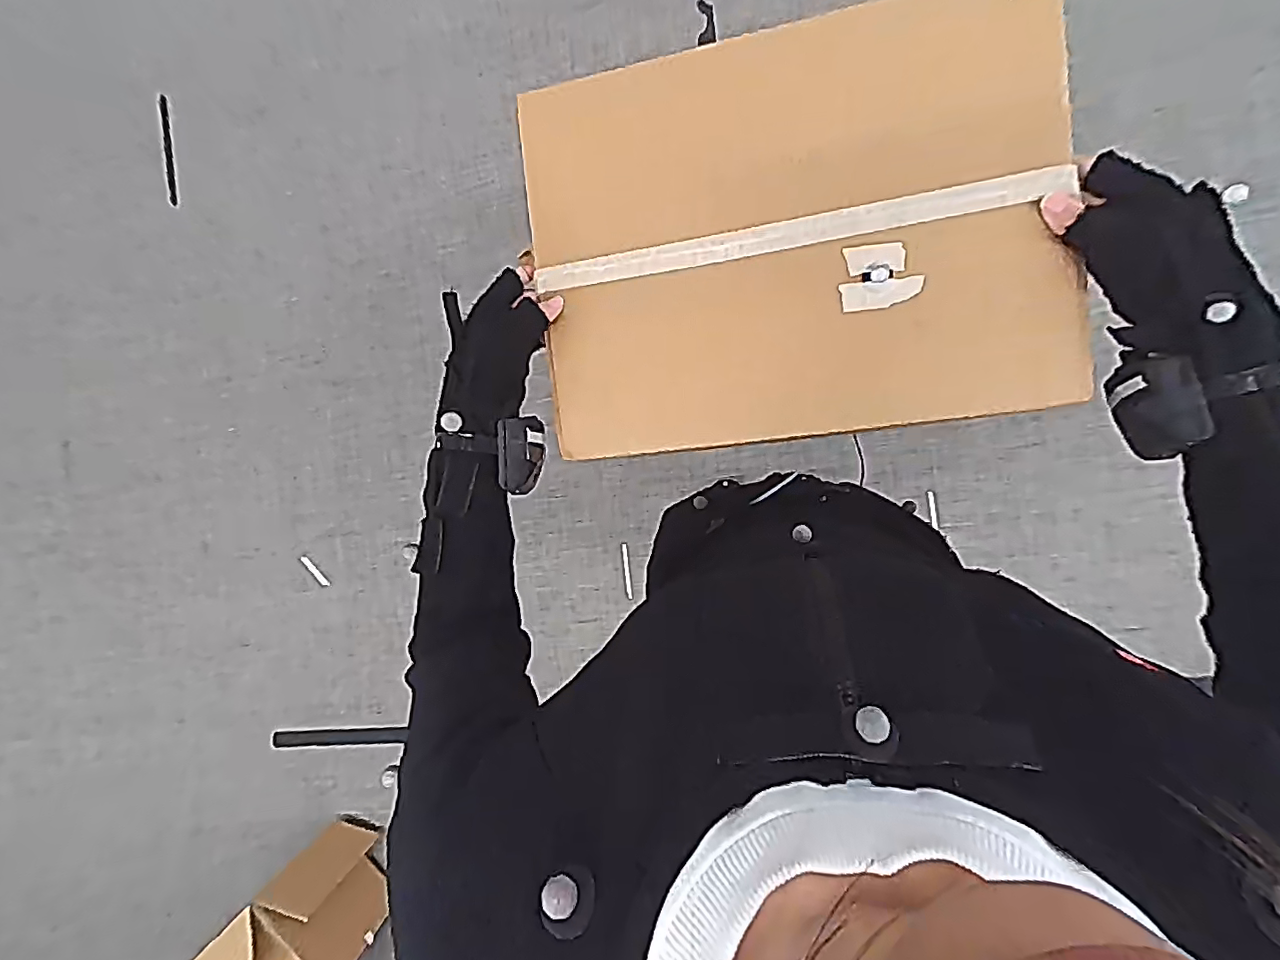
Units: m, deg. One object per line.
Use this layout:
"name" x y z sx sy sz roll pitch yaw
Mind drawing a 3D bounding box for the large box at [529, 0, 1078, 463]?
"large box" 0.141 -0.199 0.581 0.408 0.320 0.320 -7 93 11
